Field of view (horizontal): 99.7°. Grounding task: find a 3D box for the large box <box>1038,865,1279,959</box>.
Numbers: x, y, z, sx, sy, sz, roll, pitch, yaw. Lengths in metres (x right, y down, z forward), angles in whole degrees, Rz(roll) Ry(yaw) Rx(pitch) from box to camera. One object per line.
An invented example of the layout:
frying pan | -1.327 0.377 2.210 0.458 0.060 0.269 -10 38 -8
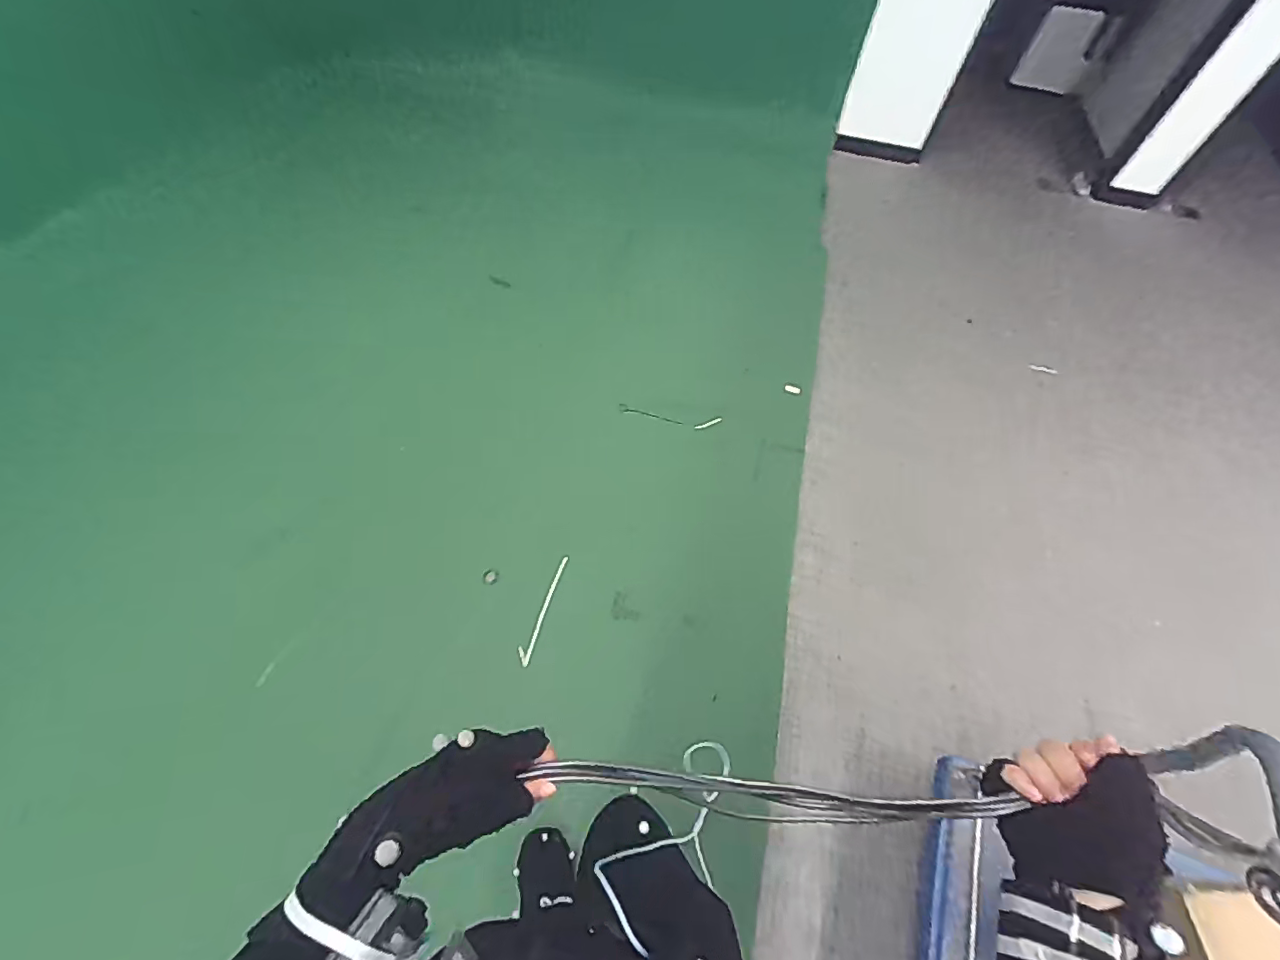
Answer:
large box | 0.951 0.870 0.861 0.320 0.320 0.408 3 57 -3
